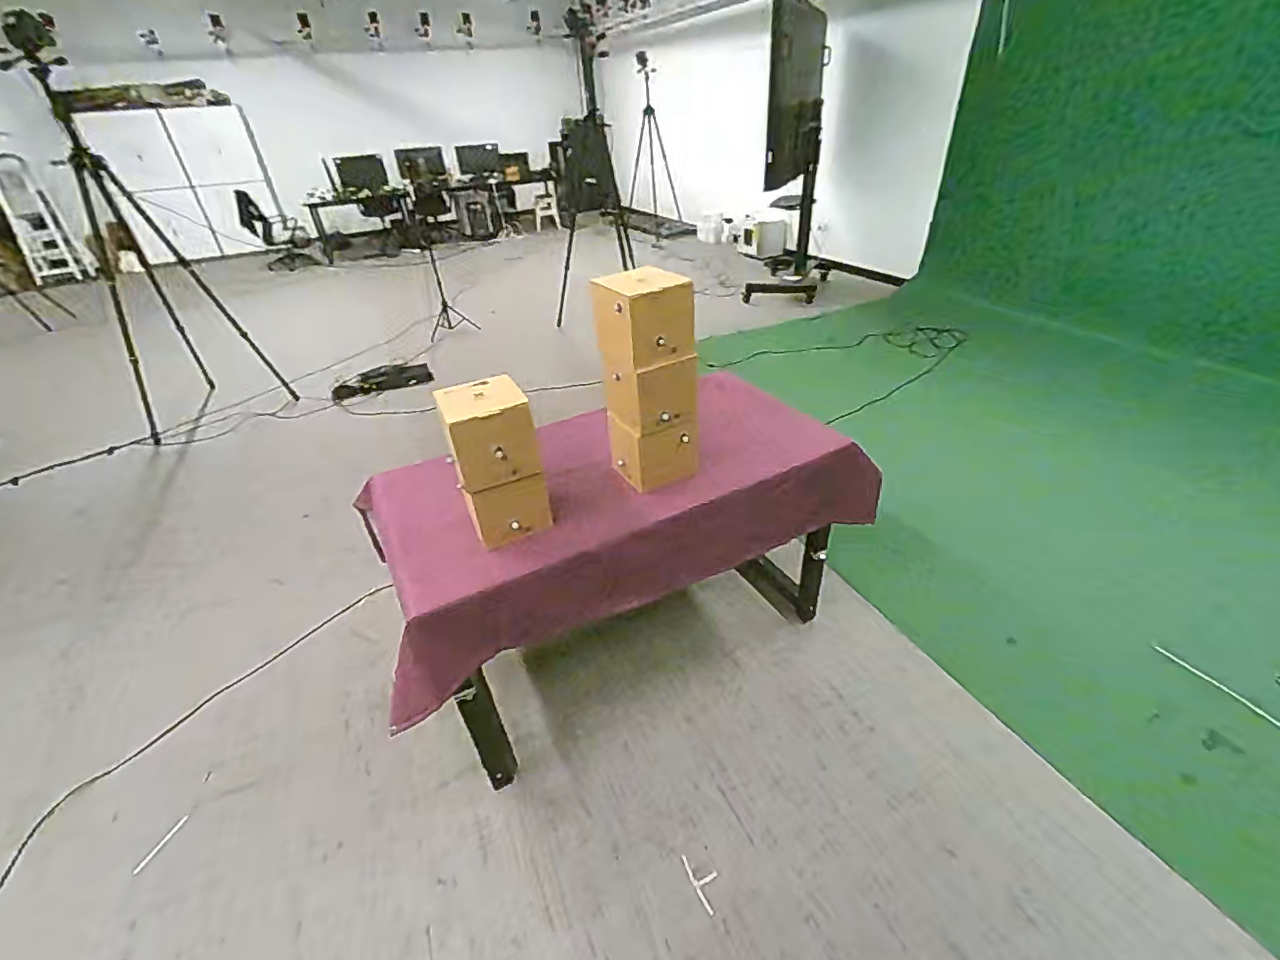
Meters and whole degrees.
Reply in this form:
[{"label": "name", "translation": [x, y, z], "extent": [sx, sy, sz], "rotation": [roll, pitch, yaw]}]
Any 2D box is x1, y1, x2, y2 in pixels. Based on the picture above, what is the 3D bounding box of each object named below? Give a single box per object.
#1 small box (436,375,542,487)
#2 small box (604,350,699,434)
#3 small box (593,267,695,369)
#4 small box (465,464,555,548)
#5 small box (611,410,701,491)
[{"label": "small box", "translation": [-0.322, -0.102, 1.165], "extent": [0.168, 0.176, 0.179], "rotation": [-18, 38, -20]}, {"label": "small box", "translation": [0.027, -0.234, 1.314], "extent": [0.168, 0.176, 0.179], "rotation": [-22, 39, -22]}, {"label": "small box", "translation": [0.010, -0.369, 1.225], "extent": [0.168, 0.176, 0.179], "rotation": [-23, 40, -23]}, {"label": "small box", "translation": [-0.311, 0.028, 1.266], "extent": [0.168, 0.176, 0.179], "rotation": [-19, 38, -20]}, {"label": "small box", "translation": [0.041, -0.099, 1.405], "extent": [0.179, 0.176, 0.168], "rotation": [-21, 37, -21]}]
